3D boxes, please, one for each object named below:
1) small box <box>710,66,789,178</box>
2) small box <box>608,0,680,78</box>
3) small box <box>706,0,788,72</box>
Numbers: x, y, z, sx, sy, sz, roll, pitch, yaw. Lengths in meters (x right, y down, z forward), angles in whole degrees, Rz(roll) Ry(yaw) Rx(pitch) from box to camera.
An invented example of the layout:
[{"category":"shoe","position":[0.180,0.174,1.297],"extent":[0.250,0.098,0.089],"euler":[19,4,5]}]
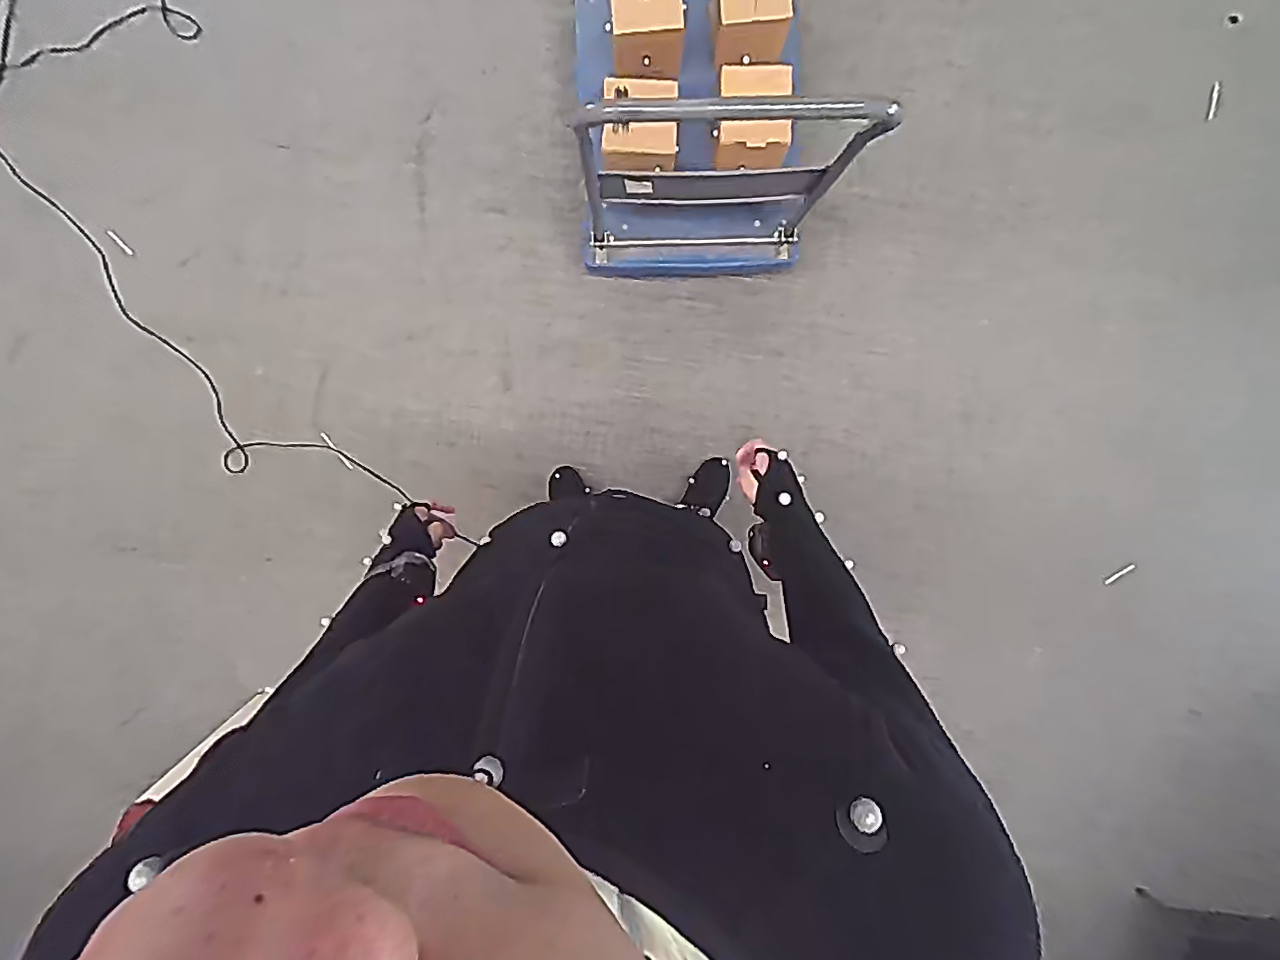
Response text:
[{"category":"small box","position":[0.267,-0.885,1.347],"extent":[0.168,0.176,0.179],"euler":[-1,94,0]},{"category":"small box","position":[0.007,-1.131,1.332],"extent":[0.168,0.176,0.179],"euler":[-5,93,0]},{"category":"small box","position":[0.258,-1.155,1.330],"extent":[0.168,0.176,0.179],"euler":[-5,94,1]}]
